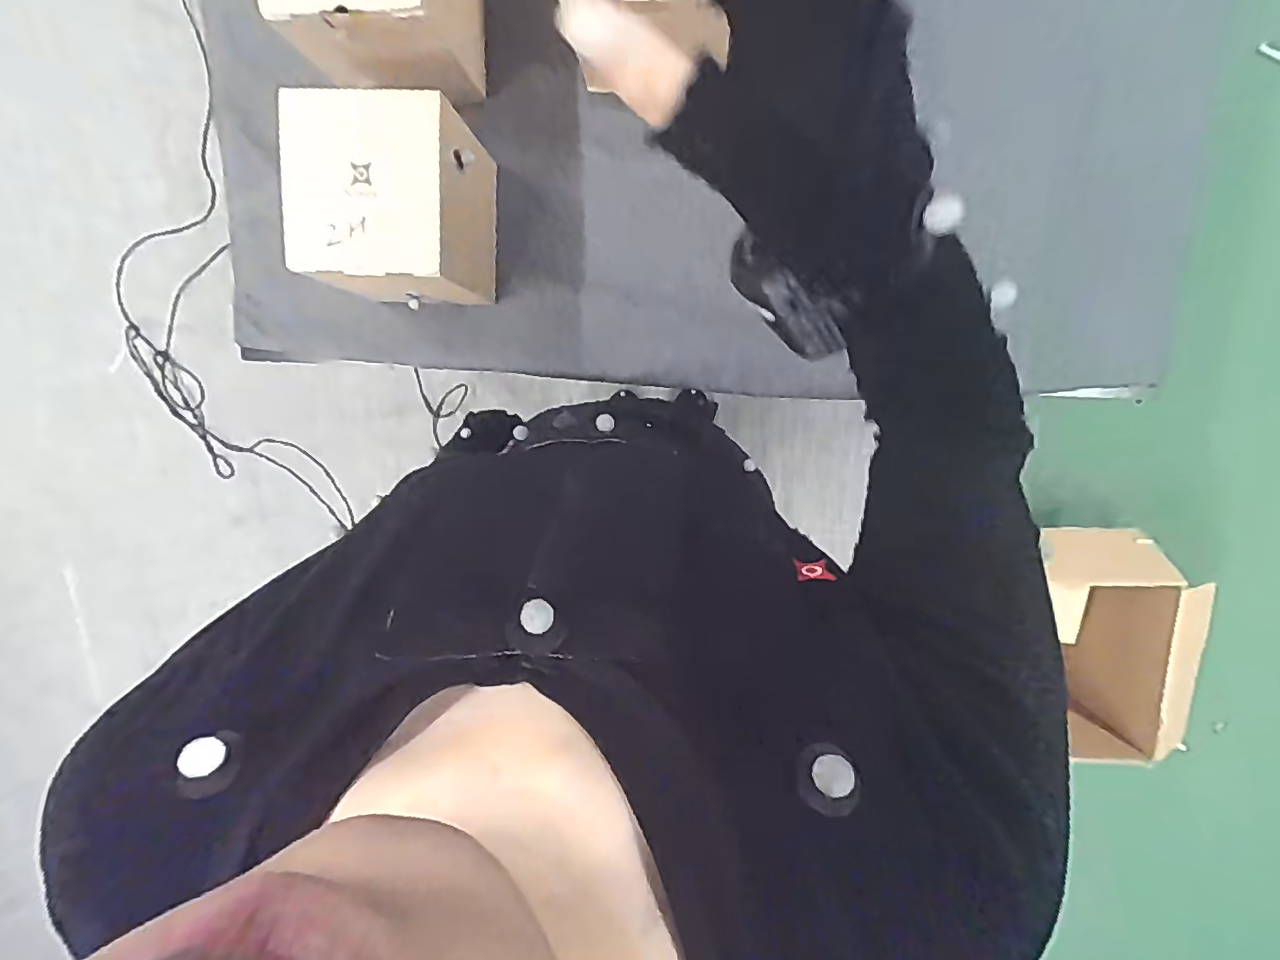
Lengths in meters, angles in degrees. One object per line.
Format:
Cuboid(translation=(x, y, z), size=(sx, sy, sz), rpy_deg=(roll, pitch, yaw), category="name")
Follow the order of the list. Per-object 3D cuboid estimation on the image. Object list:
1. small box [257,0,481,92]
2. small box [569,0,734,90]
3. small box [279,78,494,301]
Cuboid(translation=(-0.277, -0.546, 0.575), size=(0.168, 0.176, 0.179), rpy_deg=(2, 100, 3), category="small box")
Cuboid(translation=(0.015, -0.547, 0.559), size=(0.168, 0.176, 0.179), rpy_deg=(4, 102, 3), category="small box")
Cuboid(translation=(-0.274, -0.313, 0.616), size=(0.168, 0.176, 0.179), rpy_deg=(4, 99, 3), category="small box")
